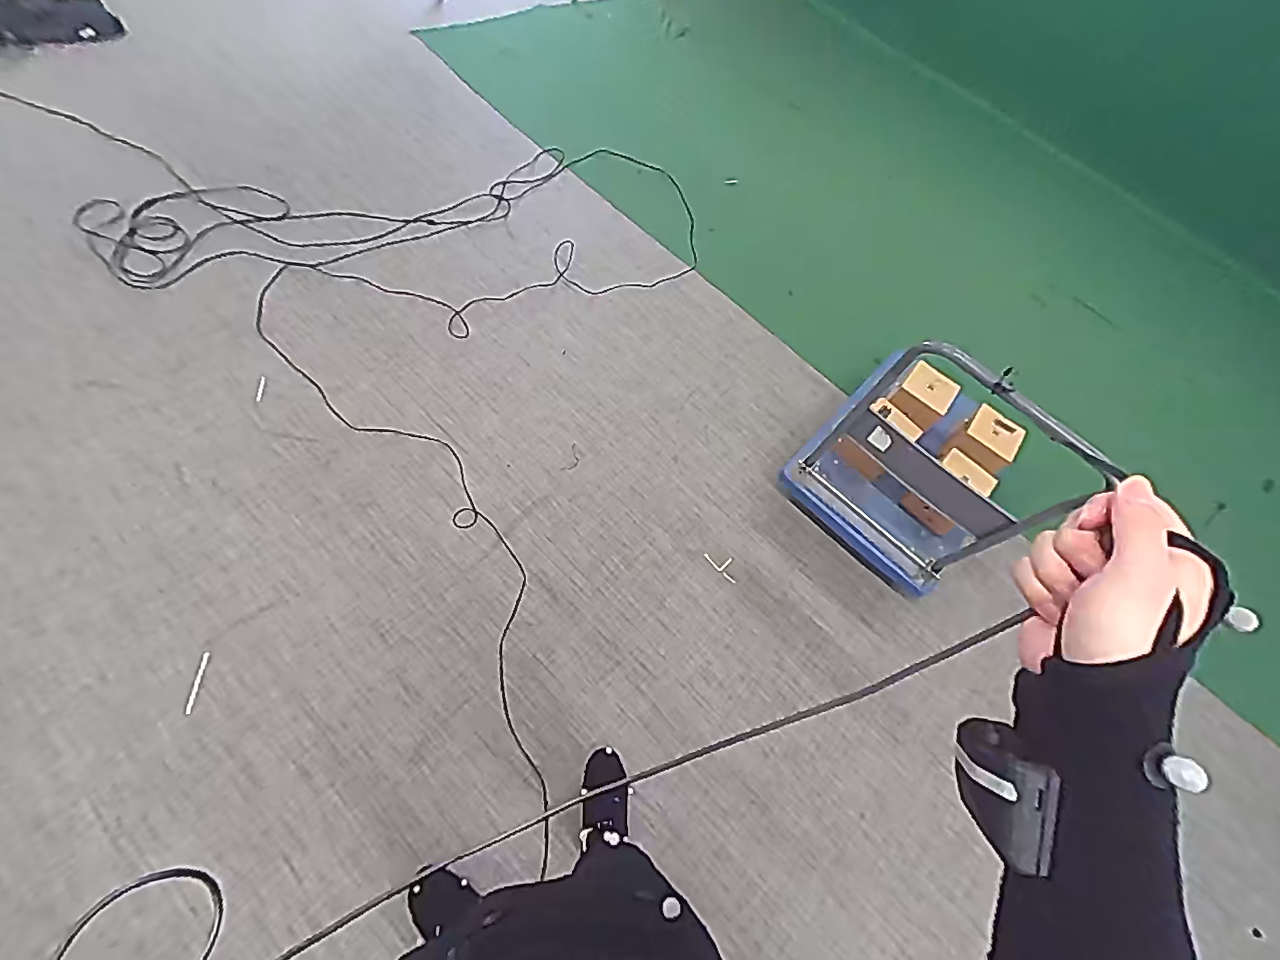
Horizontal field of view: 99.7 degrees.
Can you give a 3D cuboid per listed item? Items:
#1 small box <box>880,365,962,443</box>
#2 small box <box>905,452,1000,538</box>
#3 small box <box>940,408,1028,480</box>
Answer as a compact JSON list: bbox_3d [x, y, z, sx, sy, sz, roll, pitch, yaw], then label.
[{"bbox_3d":[0.971,-0.260,1.887,0.168,0.176,0.179,39,61,10],"label":"small box"},{"bbox_3d":[0.984,0.051,1.714,0.168,0.176,0.179,43,62,13],"label":"small box"},{"bbox_3d":[1.165,-0.106,1.841,0.168,0.176,0.179,39,61,12],"label":"small box"}]
